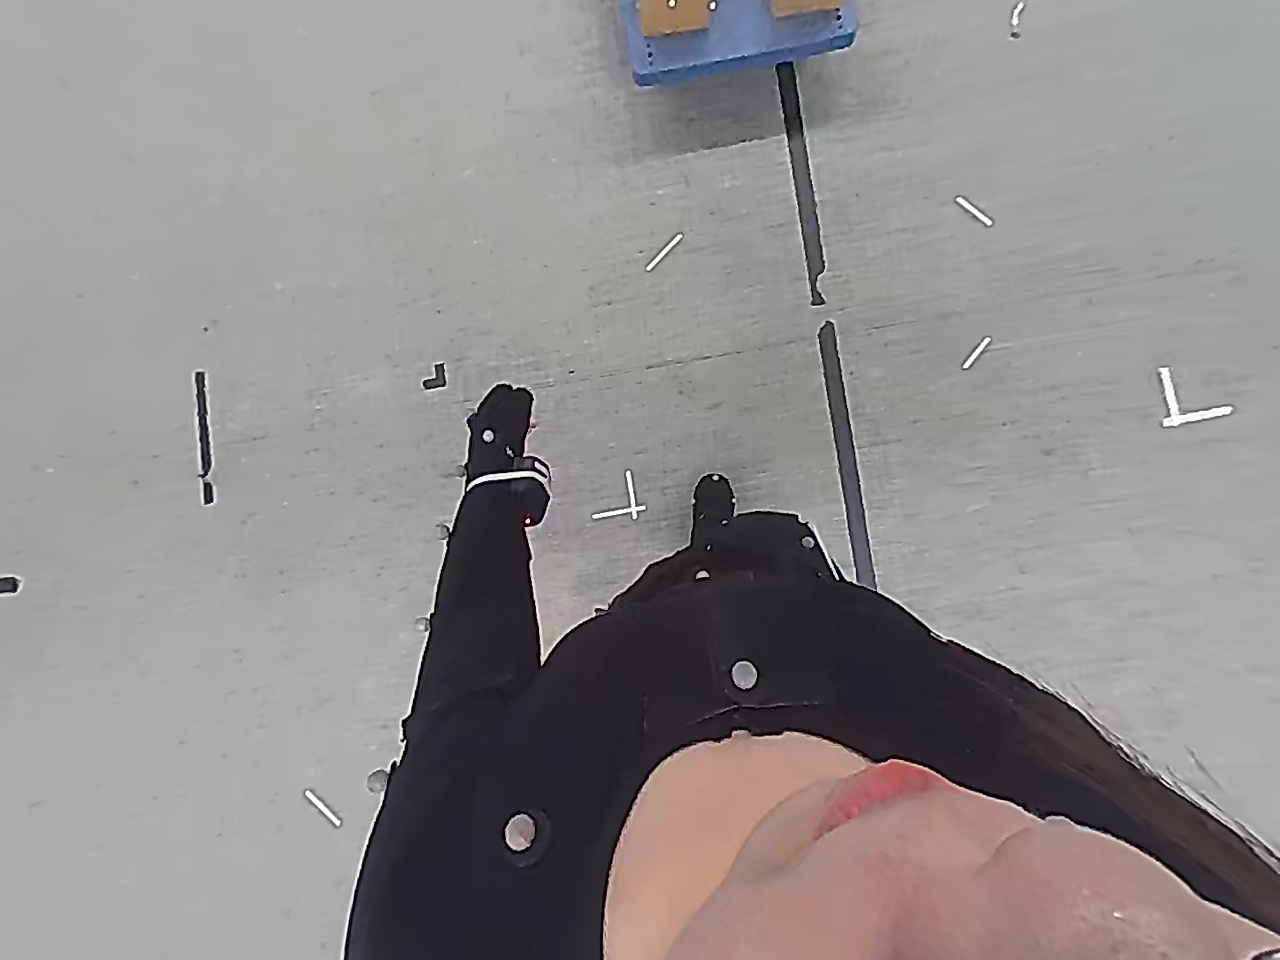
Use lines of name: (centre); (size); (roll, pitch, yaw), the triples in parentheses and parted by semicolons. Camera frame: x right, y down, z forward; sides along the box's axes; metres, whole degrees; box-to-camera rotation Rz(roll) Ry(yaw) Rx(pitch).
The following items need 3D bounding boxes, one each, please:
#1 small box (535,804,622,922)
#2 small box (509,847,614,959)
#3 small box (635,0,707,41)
small box: (-0.134, 0.877, 1.251); (0.179, 0.176, 0.168); (-4, 87, 4)
small box: (-0.148, 0.872, 1.088); (0.179, 0.176, 0.168); (-6, 88, 5)
small box: (0.072, -1.213, 1.304); (0.179, 0.176, 0.168); (-5, 87, 4)
